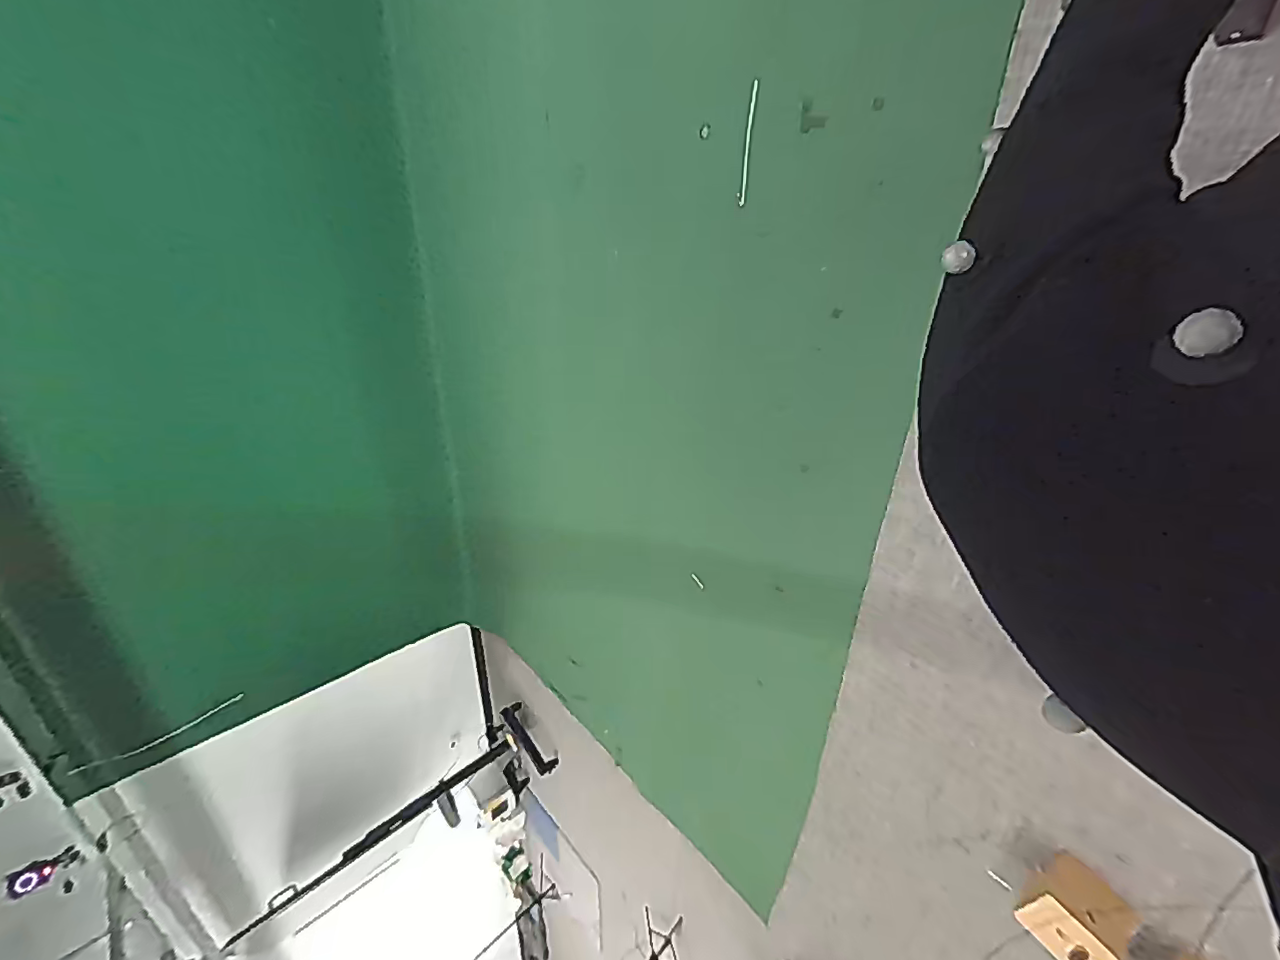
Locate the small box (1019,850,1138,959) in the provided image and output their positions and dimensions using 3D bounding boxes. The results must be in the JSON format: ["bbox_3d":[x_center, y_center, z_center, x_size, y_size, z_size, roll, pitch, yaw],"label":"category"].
[{"bbox_3d":[1.173,1.148,1.444,0.179,0.176,0.168,42,134,32],"label":"small box"}]
